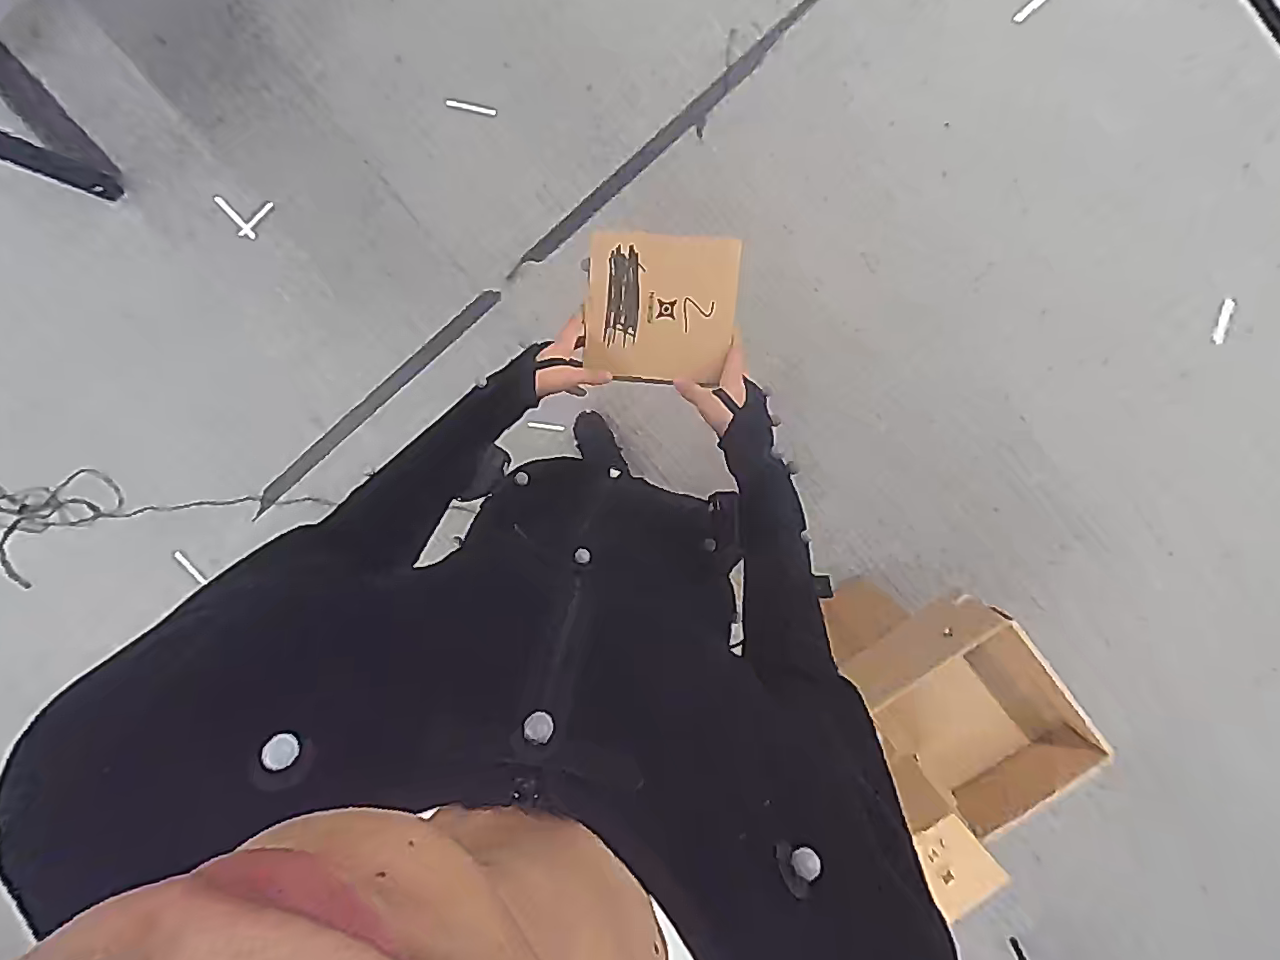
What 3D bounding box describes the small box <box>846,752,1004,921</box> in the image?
[{"bbox_3d":[0.537,0.674,1.042,0.168,0.176,0.179,-40,95,5],"label":"small box"}]
